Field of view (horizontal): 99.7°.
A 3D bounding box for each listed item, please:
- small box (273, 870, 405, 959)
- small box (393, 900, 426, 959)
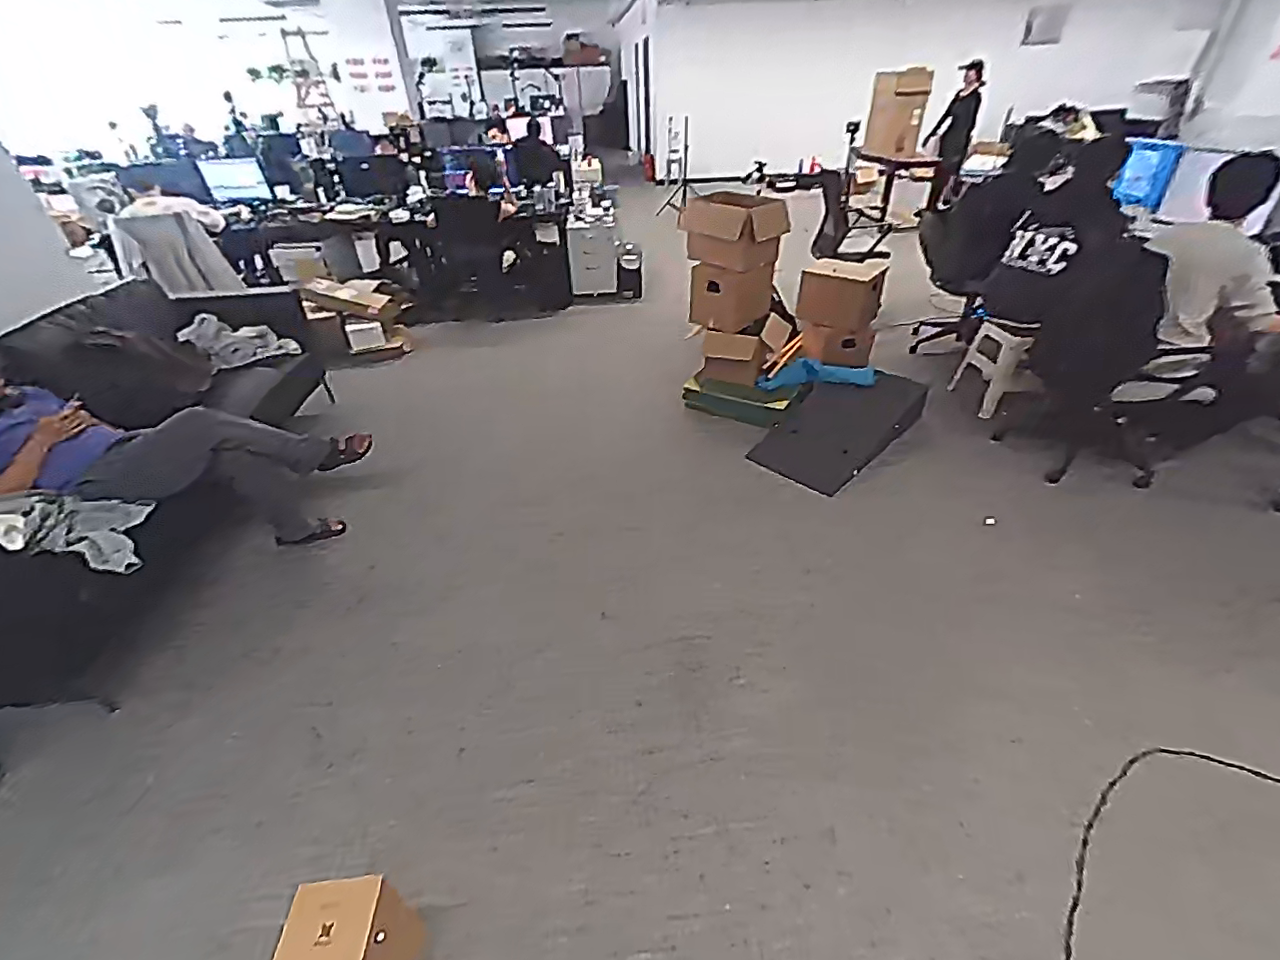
[{"bbox_3d":[-0.582,0.905,1.059,0.168,0.176,0.179,-4,35,-3],"label":"small box"},{"bbox_3d":[-0.575,1.036,1.153,0.168,0.176,0.179,-4,36,-1],"label":"small box"}]
